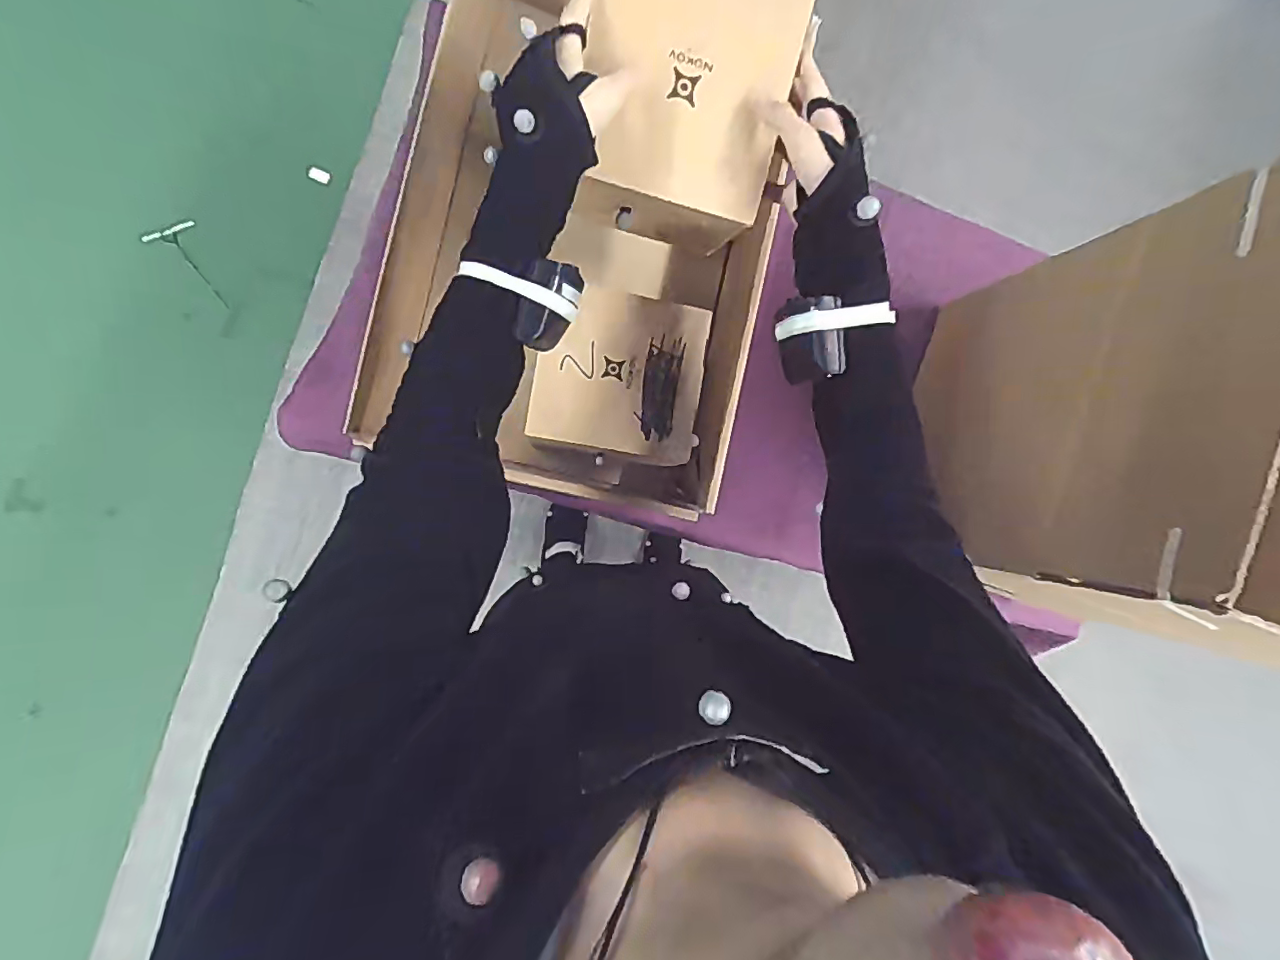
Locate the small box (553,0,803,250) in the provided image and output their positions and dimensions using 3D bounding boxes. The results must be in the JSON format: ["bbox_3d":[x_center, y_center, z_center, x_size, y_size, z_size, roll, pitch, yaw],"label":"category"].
[{"bbox_3d":[0.023,-0.332,0.502,0.168,0.176,0.179,12,102,-8],"label":"small box"}]
